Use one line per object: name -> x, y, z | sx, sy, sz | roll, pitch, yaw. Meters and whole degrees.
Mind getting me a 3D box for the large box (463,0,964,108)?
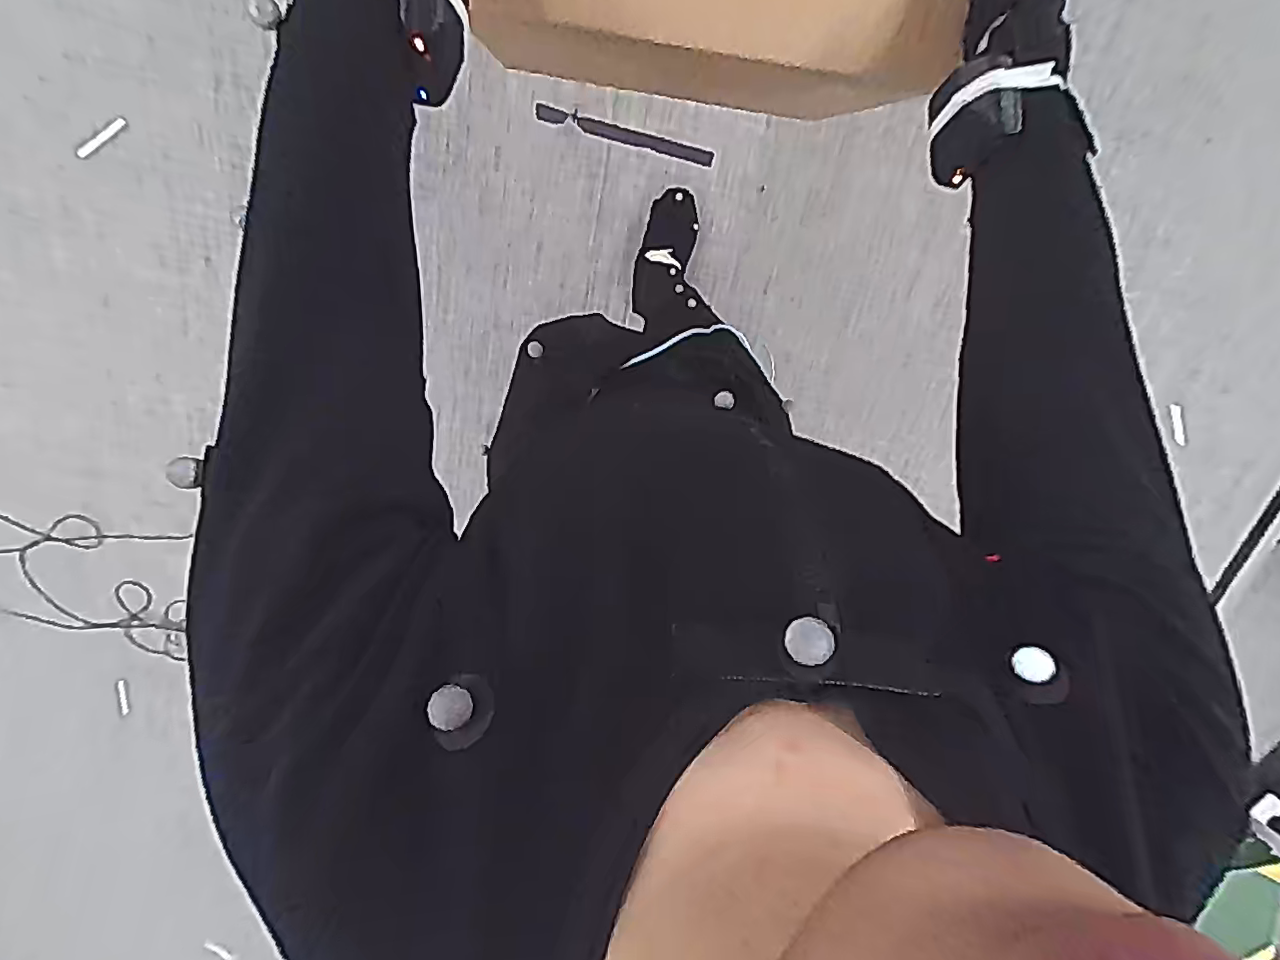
large box -> 0.061, -0.554, 0.481 | 0.408, 0.320, 0.320 | 4, 121, -7
